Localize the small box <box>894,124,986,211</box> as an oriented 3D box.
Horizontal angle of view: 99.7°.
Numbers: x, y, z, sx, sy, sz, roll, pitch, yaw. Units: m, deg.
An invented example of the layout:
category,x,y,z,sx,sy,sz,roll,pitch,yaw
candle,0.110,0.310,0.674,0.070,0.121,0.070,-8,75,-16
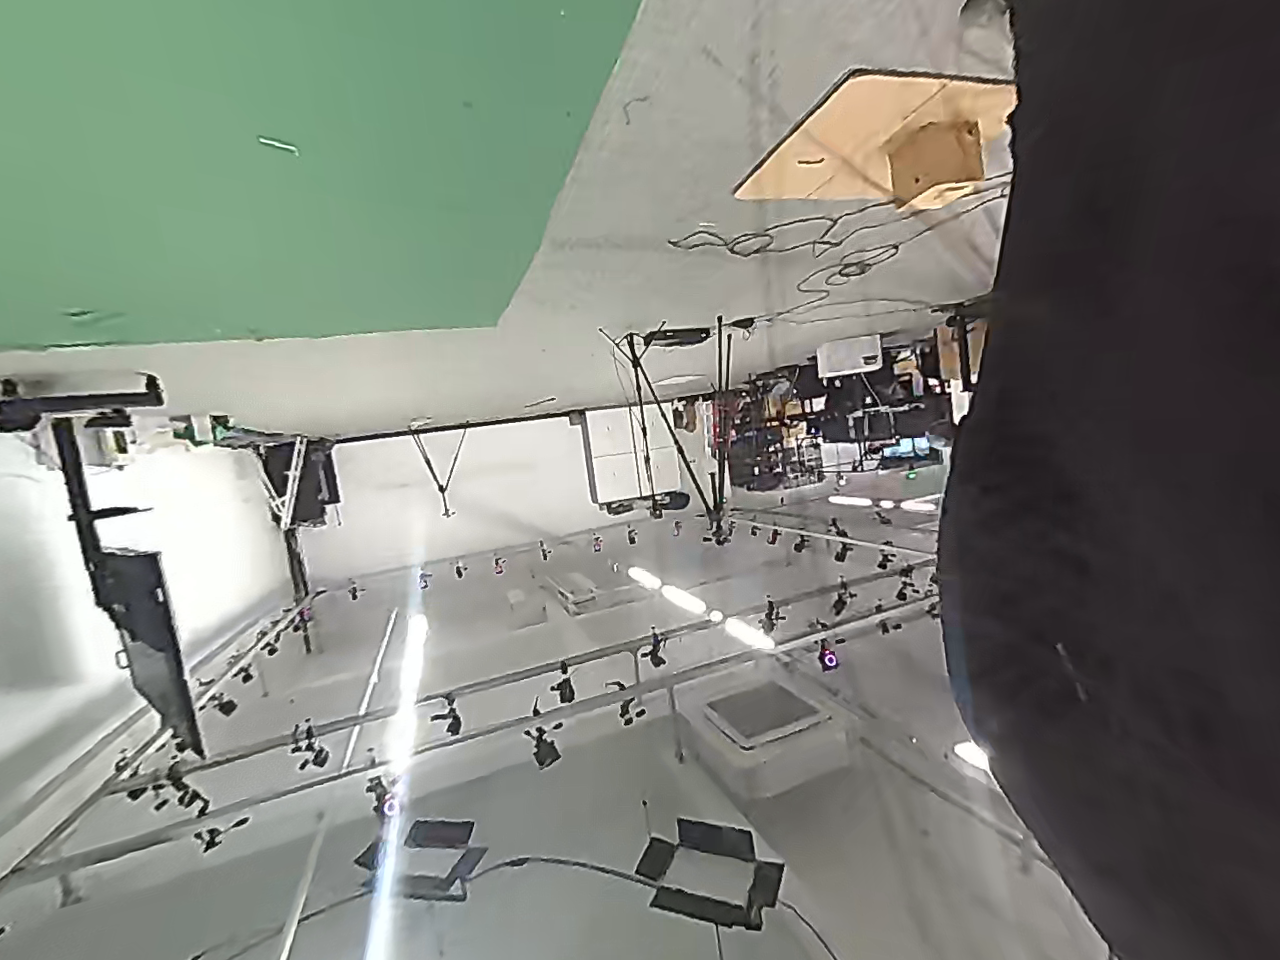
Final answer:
category,x,y,z,sx,sy,sz,roll,pitch,yaw
small box,0.879,-0.926,1.602,0.168,0.176,0.179,-9,-176,-12
